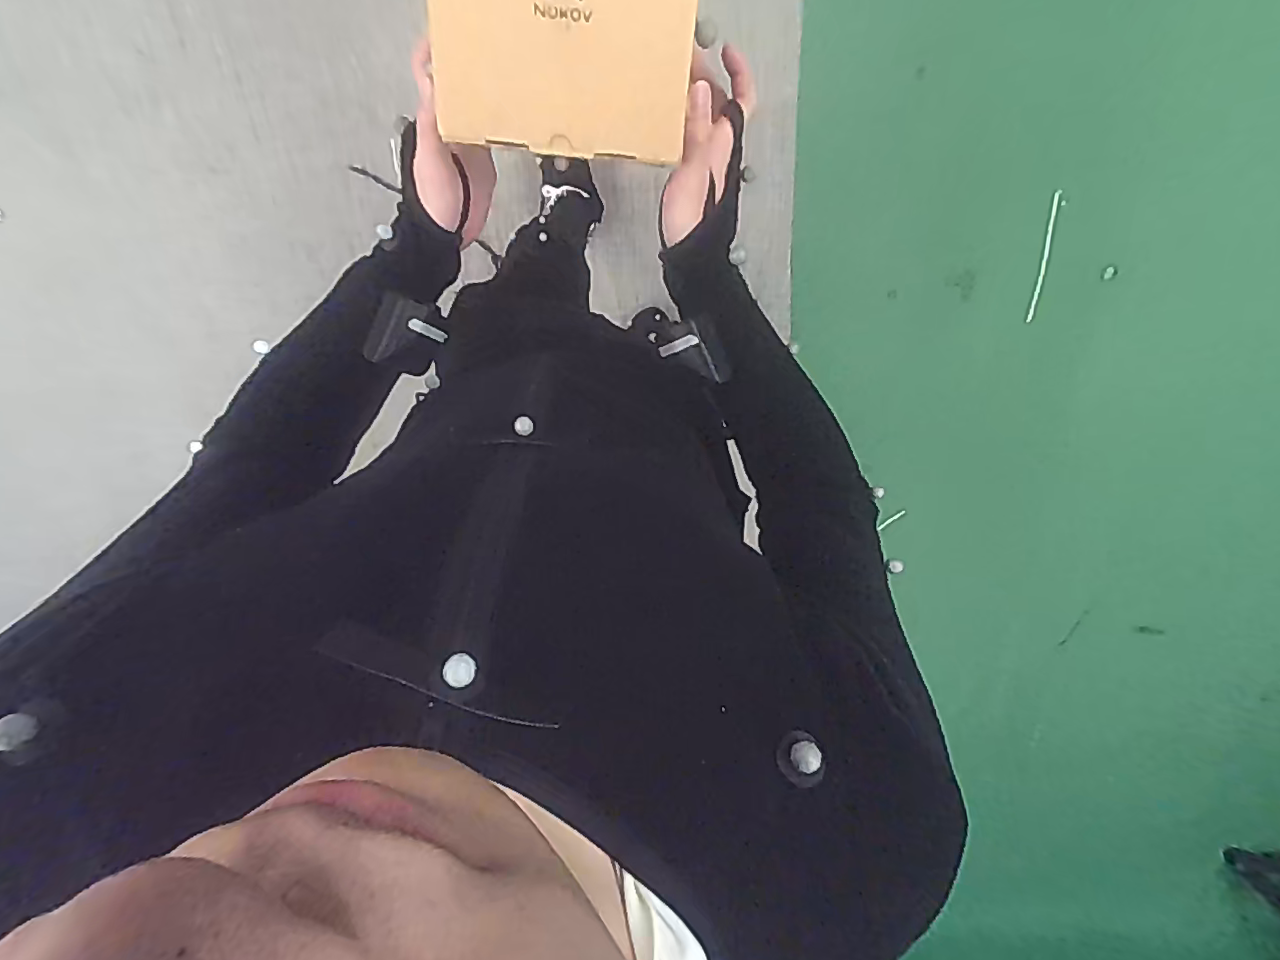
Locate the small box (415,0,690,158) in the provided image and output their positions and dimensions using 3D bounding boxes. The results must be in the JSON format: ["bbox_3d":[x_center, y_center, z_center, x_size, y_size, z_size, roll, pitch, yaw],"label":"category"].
[{"bbox_3d":[-0.053,-0.339,0.383,0.168,0.176,0.179,4,122,-3],"label":"small box"}]
